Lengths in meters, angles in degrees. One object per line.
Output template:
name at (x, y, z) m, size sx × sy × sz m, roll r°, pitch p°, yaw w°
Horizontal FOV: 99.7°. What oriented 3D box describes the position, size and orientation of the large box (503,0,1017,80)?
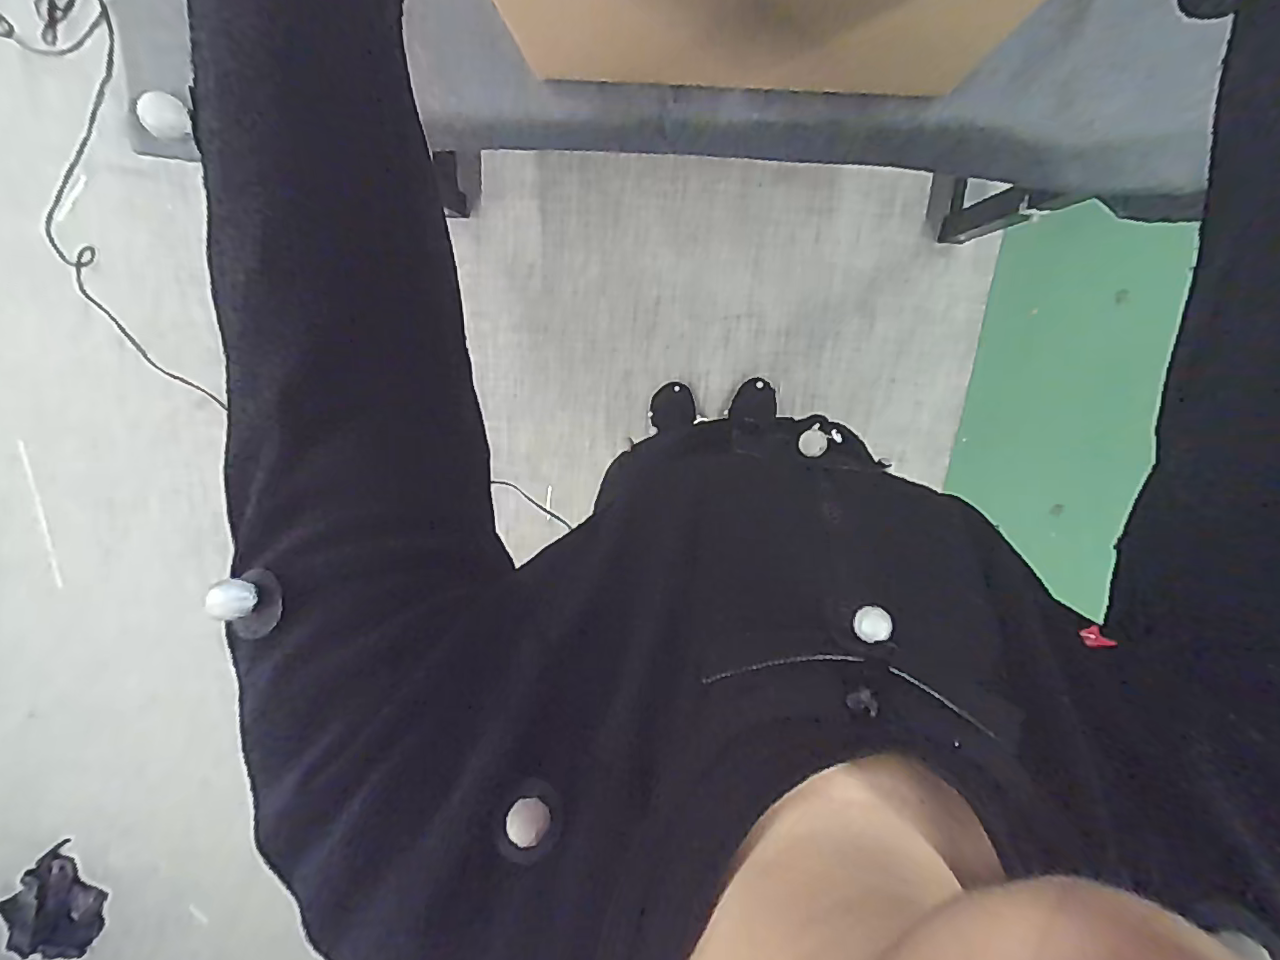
large box at (0.090, -0.504, 0.349) m, size 0.408 × 0.320 × 0.320 m, roll 4°, pitch 105°, yaw 3°
